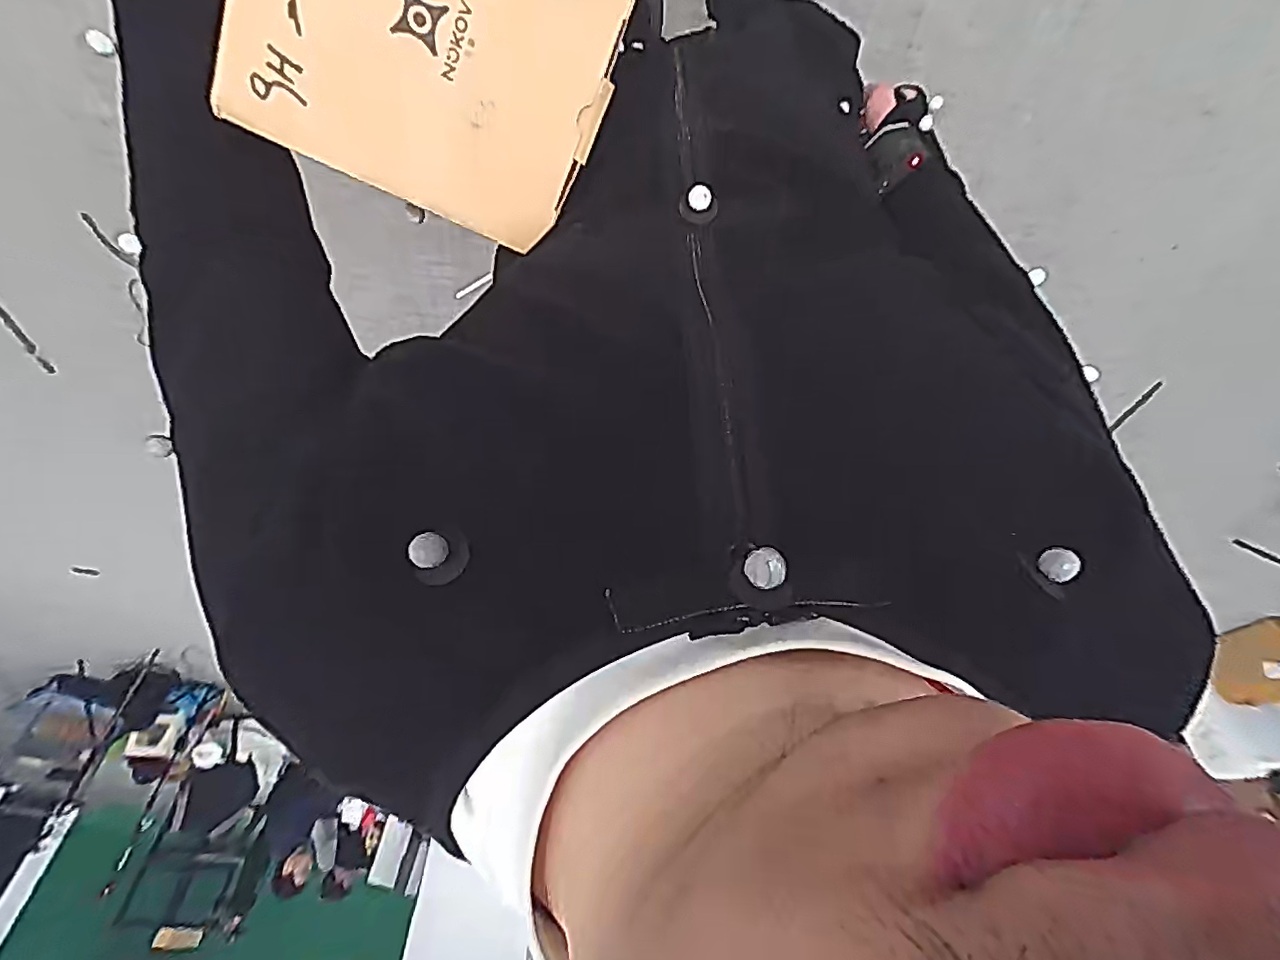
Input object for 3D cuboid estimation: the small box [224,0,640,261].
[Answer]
[{"bbox_3d":[-0.126,-0.266,0.353,0.179,0.176,0.168,16,109,-24],"label":"small box"}]
